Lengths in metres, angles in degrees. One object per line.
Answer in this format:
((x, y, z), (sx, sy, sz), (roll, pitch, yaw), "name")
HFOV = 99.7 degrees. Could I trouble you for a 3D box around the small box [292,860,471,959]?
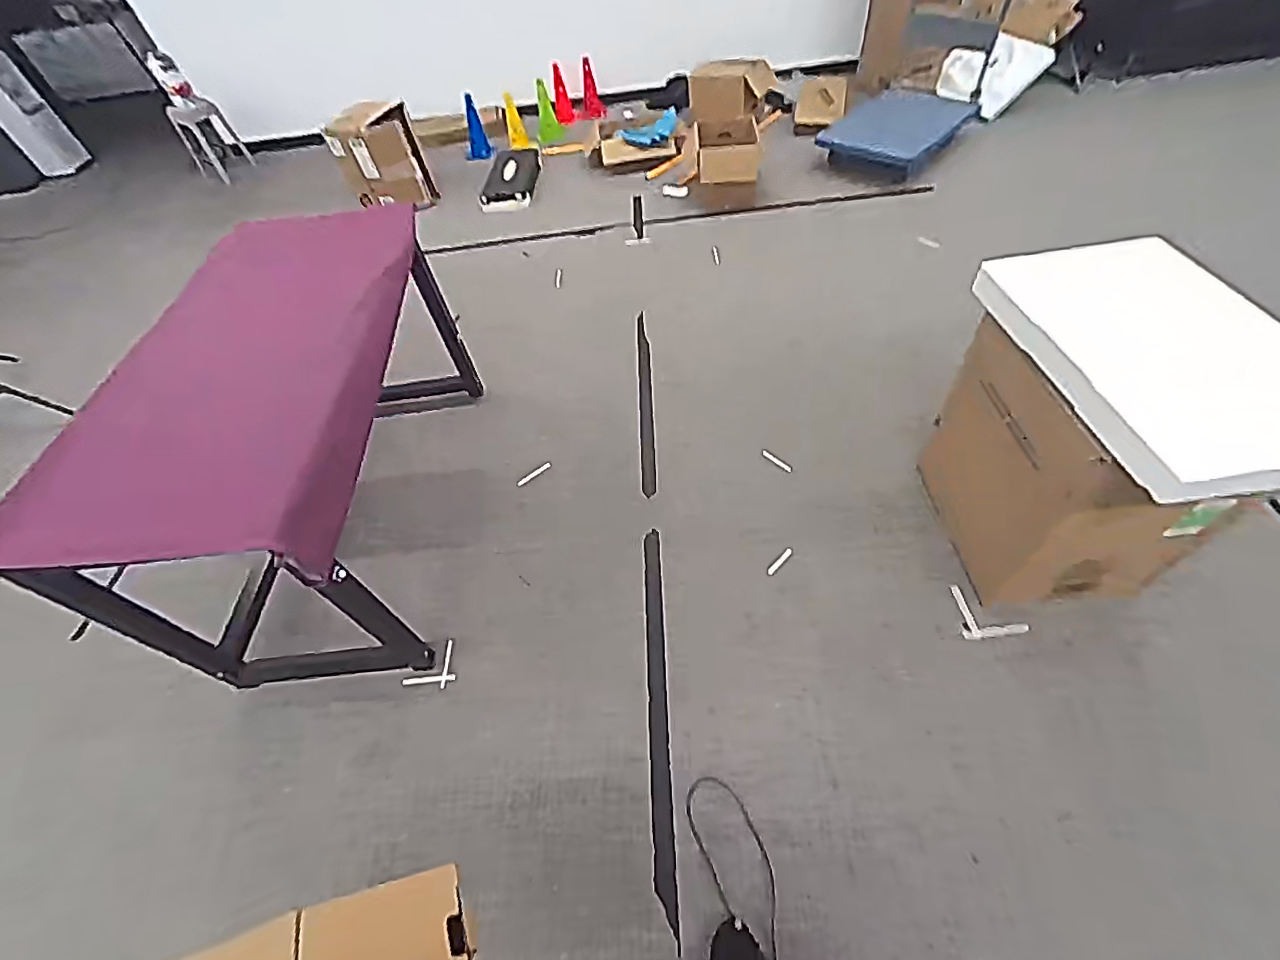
((-0.299, 0.594, 0.623), (0.179, 0.176, 0.168), (3, 28, -30), "small box")
